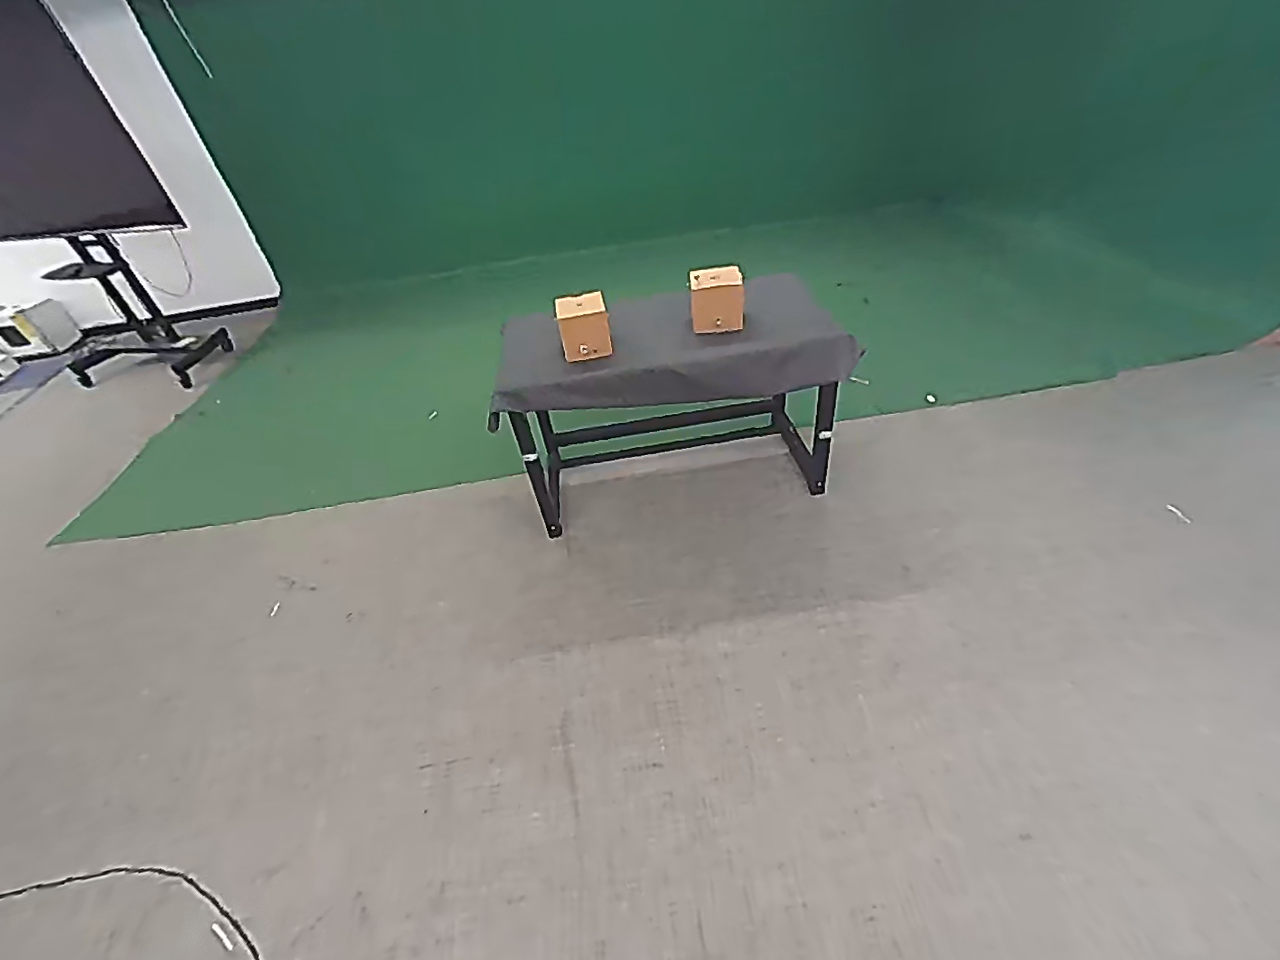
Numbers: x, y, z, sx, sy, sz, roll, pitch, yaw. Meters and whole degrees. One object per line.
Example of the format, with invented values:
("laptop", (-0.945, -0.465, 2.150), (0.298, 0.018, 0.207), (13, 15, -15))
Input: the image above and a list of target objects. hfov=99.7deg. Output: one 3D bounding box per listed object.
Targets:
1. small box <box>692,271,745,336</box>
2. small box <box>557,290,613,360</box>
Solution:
("small box", (0.279, -0.633, 1.943), (0.179, 0.176, 0.168), (-3, 40, 6))
("small box", (-0.193, -0.542, 1.894), (0.168, 0.176, 0.179), (-11, 40, 0))
